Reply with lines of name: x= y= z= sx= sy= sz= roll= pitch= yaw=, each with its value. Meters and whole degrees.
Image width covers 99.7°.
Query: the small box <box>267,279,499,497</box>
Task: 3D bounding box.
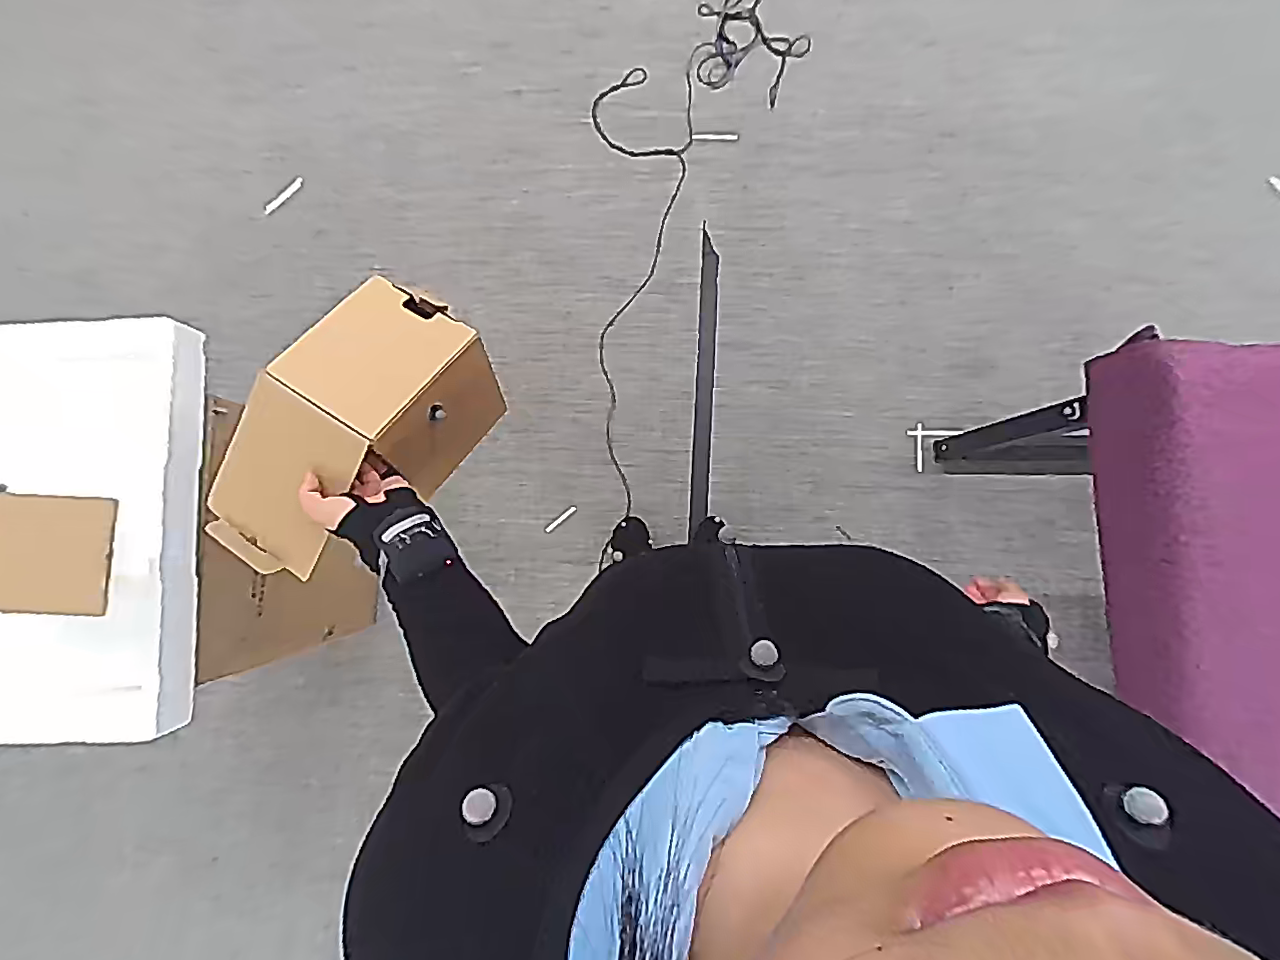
small box: x=-0.302 y=-0.107 z=0.682 sx=0.168 sy=0.176 sz=0.179 roll=30 pitch=67 yaw=12
